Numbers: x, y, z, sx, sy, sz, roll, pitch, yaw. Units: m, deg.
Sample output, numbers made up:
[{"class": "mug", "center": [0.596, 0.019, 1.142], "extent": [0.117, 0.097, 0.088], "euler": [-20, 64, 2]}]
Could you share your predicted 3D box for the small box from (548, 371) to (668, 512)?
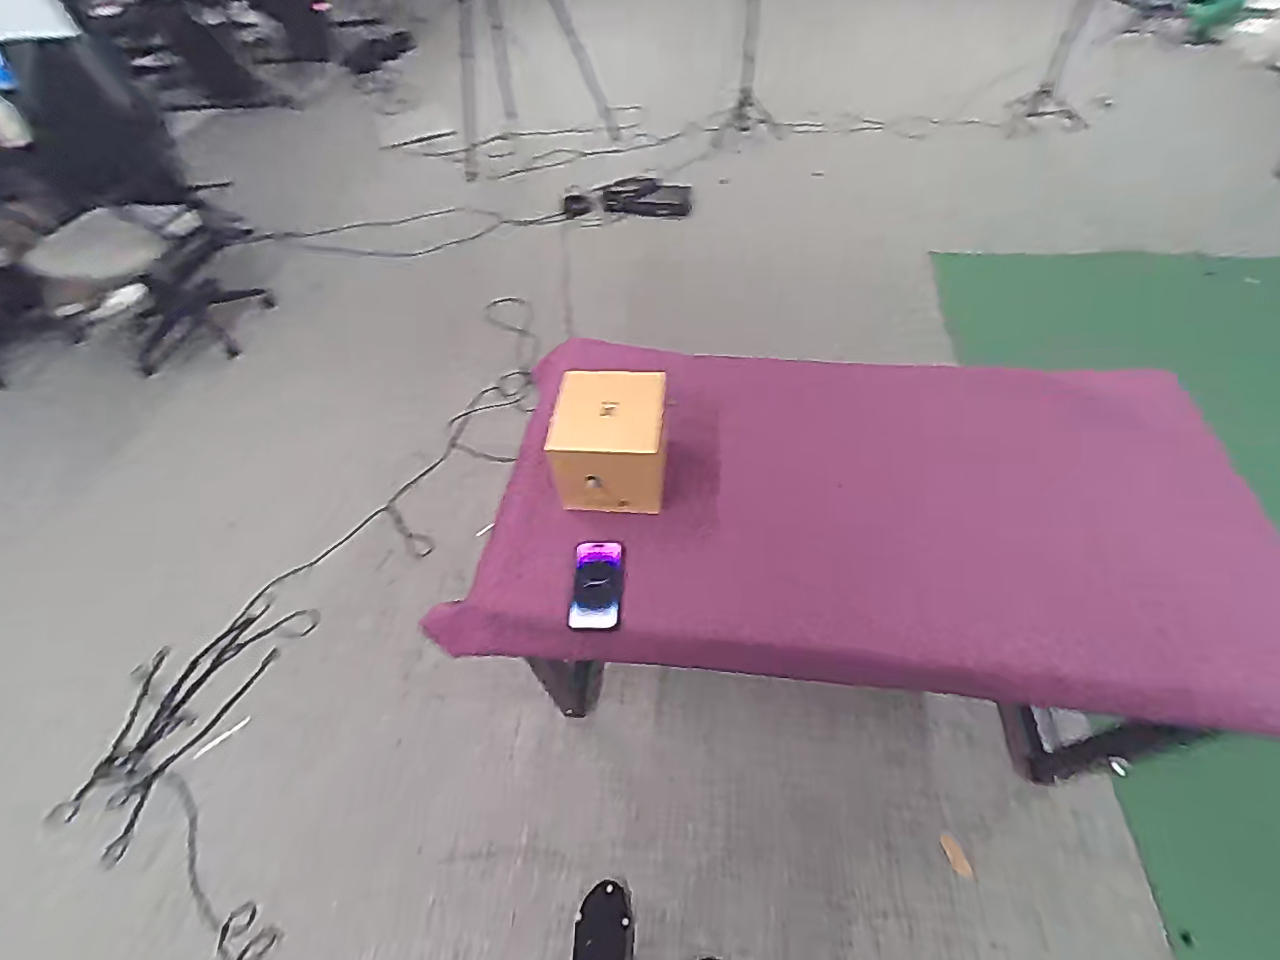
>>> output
[{"class": "small box", "center": [-0.043, -0.062, 0.904], "extent": [0.168, 0.176, 0.179], "euler": [2, 52, 7]}]
